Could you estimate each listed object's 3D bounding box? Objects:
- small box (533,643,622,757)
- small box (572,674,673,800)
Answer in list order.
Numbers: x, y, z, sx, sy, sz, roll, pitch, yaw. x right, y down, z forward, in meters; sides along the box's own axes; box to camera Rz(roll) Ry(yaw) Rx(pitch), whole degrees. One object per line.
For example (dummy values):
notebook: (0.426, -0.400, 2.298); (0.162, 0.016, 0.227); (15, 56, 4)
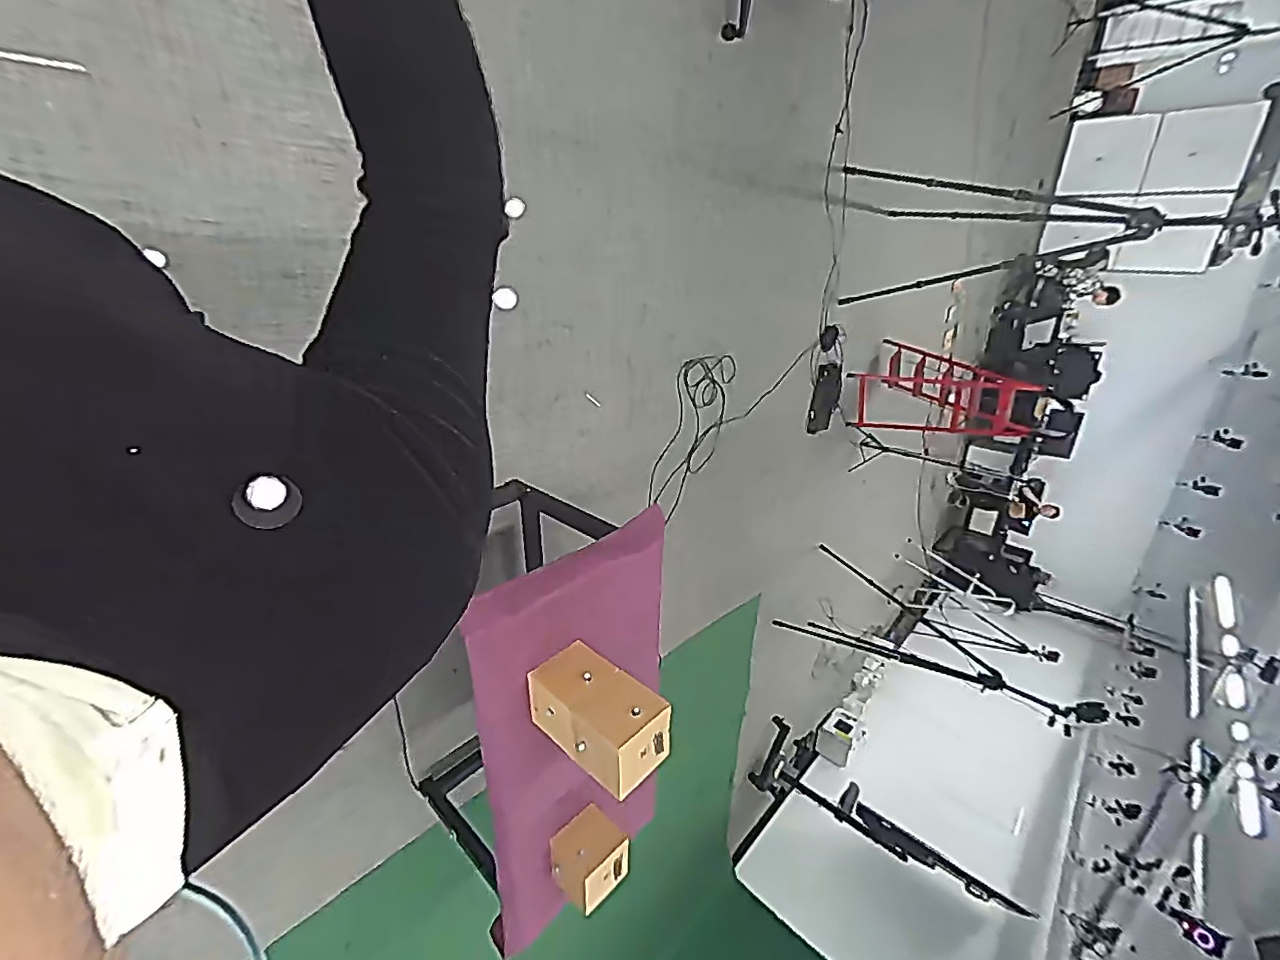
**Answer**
small box: (-0.162, 0.558, 1.392); (0.179, 0.176, 0.168); (-24, 123, -42)
small box: (-0.041, 0.602, 1.291); (0.179, 0.176, 0.168); (-22, 121, -42)
